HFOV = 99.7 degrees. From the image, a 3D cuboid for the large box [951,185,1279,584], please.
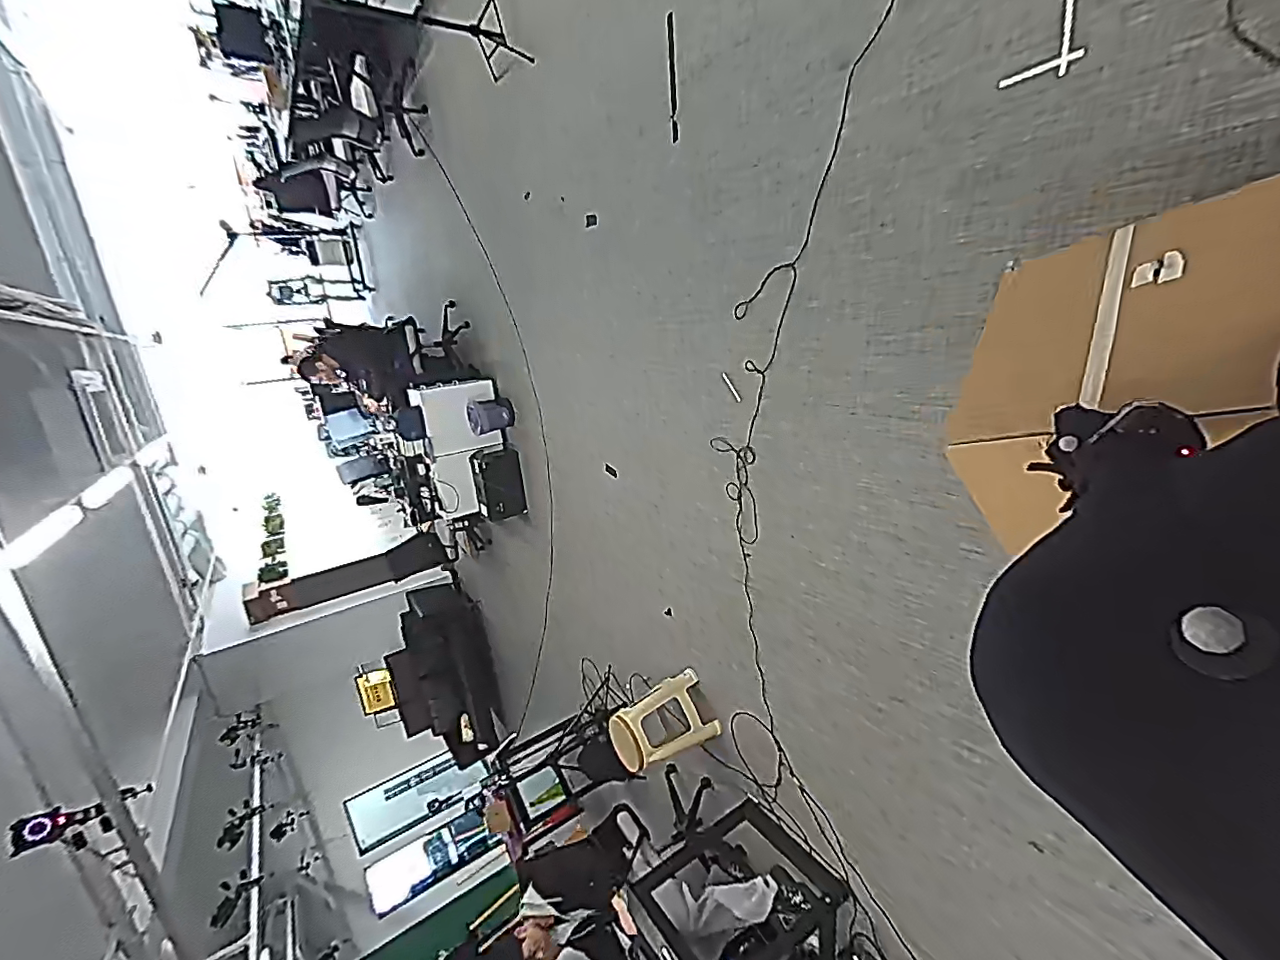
[{"bbox_3d":[0.709,-0.107,0.760,0.320,0.408,0.320,46,153,-23],"label":"large box"}]
